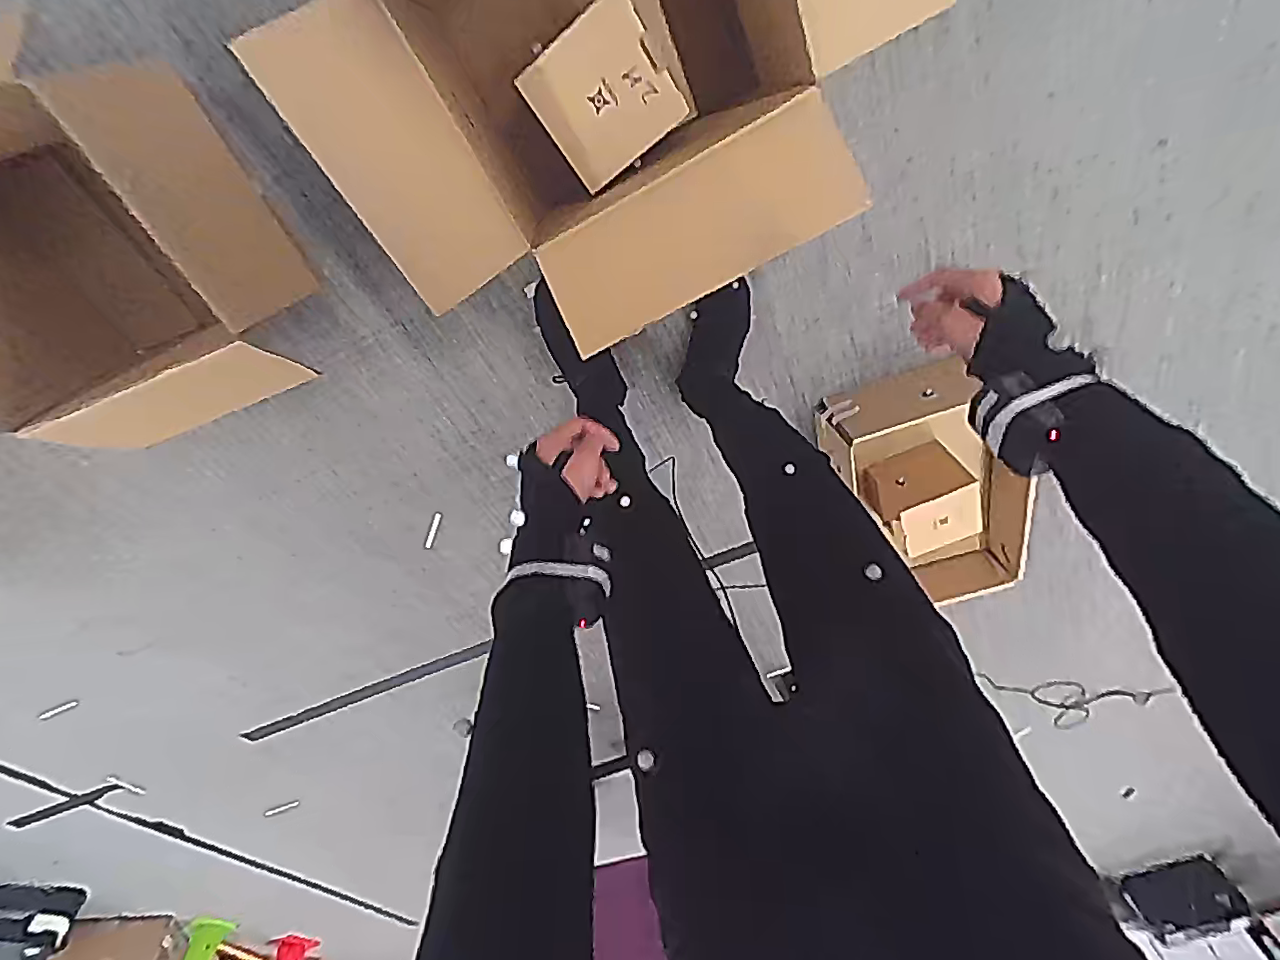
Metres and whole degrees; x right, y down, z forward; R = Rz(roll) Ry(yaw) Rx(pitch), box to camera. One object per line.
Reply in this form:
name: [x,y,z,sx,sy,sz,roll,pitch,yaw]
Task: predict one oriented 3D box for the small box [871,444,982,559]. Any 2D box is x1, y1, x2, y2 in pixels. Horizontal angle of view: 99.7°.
small box: [0.657,0.046,1.257,0.179,0.176,0.168,-23,126,9]
